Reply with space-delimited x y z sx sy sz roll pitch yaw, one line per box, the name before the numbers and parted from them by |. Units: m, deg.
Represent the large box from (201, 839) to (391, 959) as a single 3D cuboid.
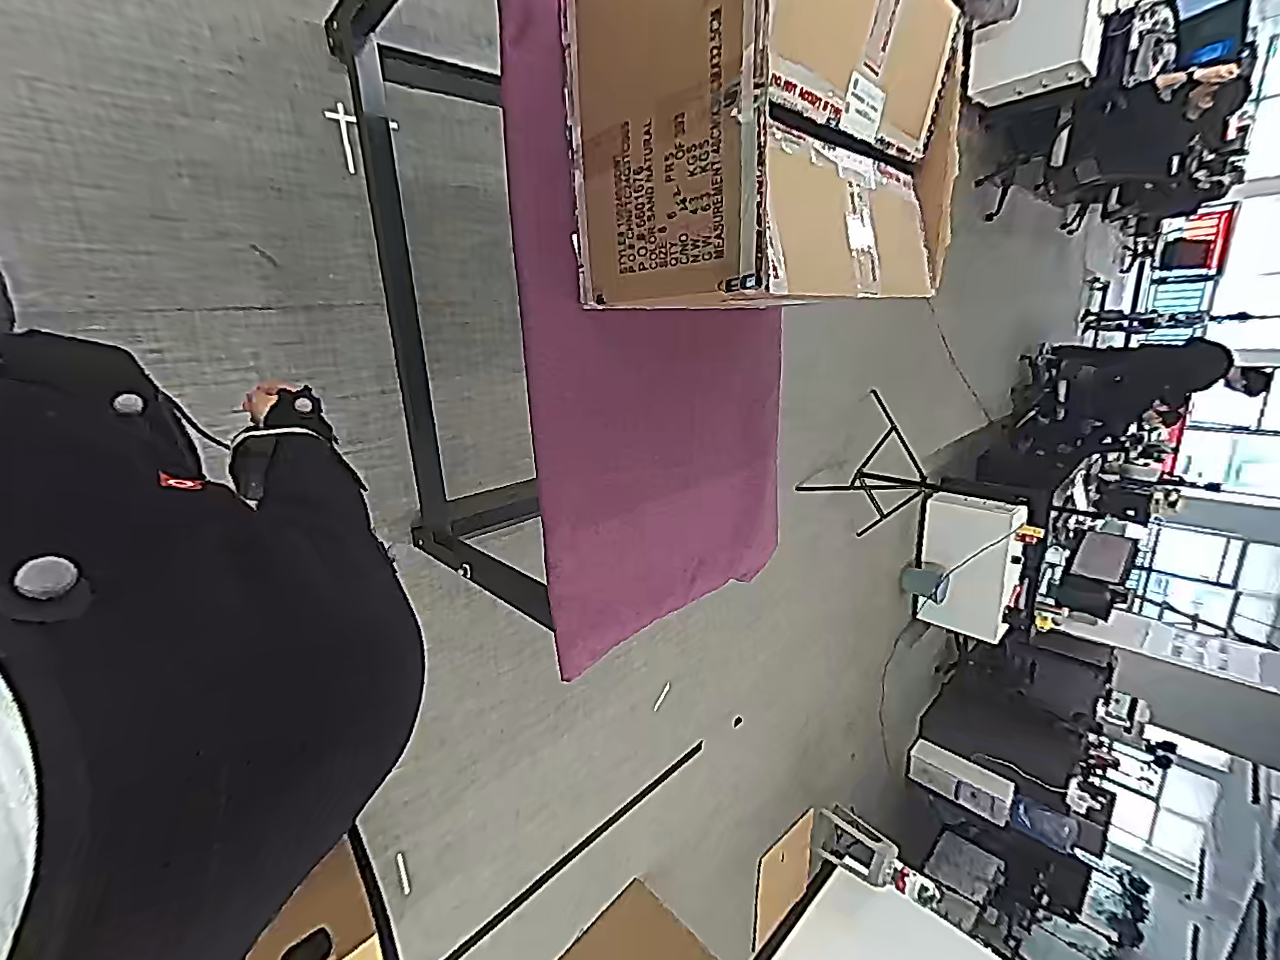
large box | -0.792 1.197 1.292 0.320 0.320 0.408 -19 112 -41
